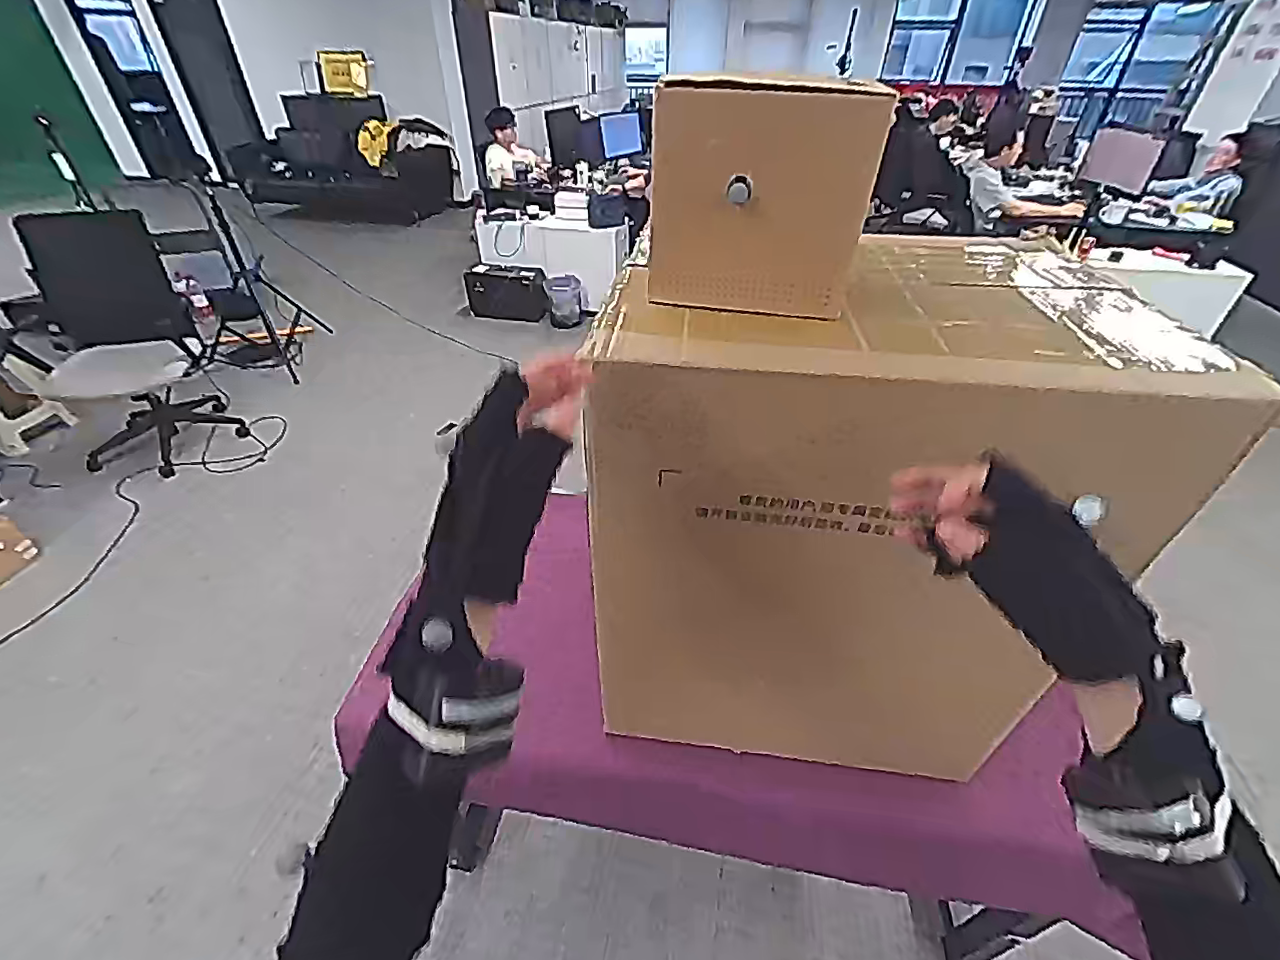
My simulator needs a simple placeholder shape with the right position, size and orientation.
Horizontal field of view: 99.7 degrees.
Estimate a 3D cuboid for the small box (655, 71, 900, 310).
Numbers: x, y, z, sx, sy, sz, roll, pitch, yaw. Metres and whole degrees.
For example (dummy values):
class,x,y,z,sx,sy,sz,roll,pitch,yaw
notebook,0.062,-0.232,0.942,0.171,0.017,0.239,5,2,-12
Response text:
class,x,y,z,sx,sy,sz,roll,pitch,yaw
small box,0.111,-0.267,0.497,0.179,0.176,0.168,7,40,8
